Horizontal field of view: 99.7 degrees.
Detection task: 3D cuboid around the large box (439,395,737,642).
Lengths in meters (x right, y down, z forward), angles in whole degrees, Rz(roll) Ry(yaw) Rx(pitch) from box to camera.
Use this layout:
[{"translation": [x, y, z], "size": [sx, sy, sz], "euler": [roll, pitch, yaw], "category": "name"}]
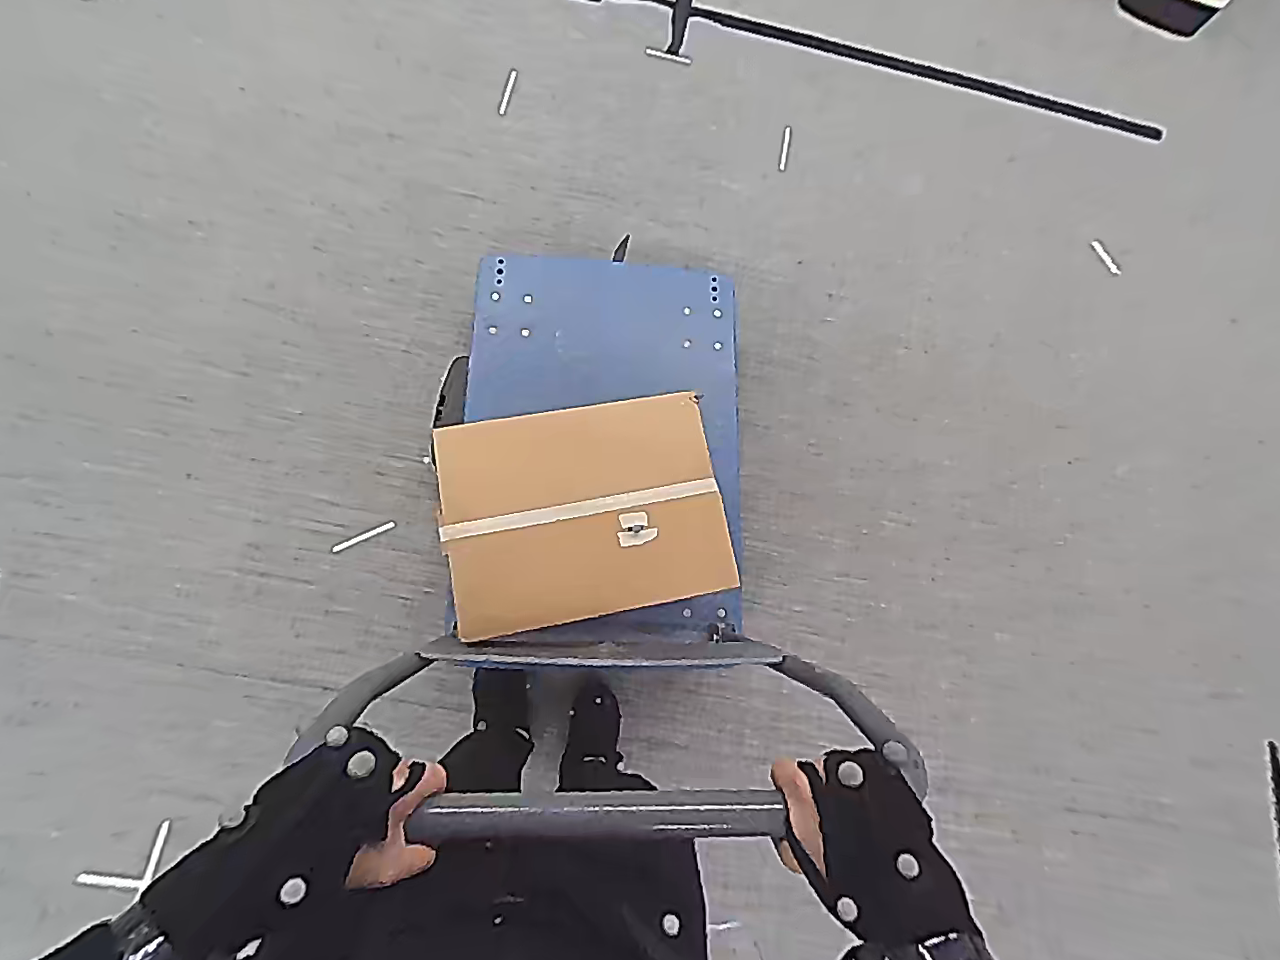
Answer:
[{"translation": [-0.095, 0.077, 0.944], "size": [0.408, 0.320, 0.320], "euler": [-9, 79, -10], "category": "large box"}]
